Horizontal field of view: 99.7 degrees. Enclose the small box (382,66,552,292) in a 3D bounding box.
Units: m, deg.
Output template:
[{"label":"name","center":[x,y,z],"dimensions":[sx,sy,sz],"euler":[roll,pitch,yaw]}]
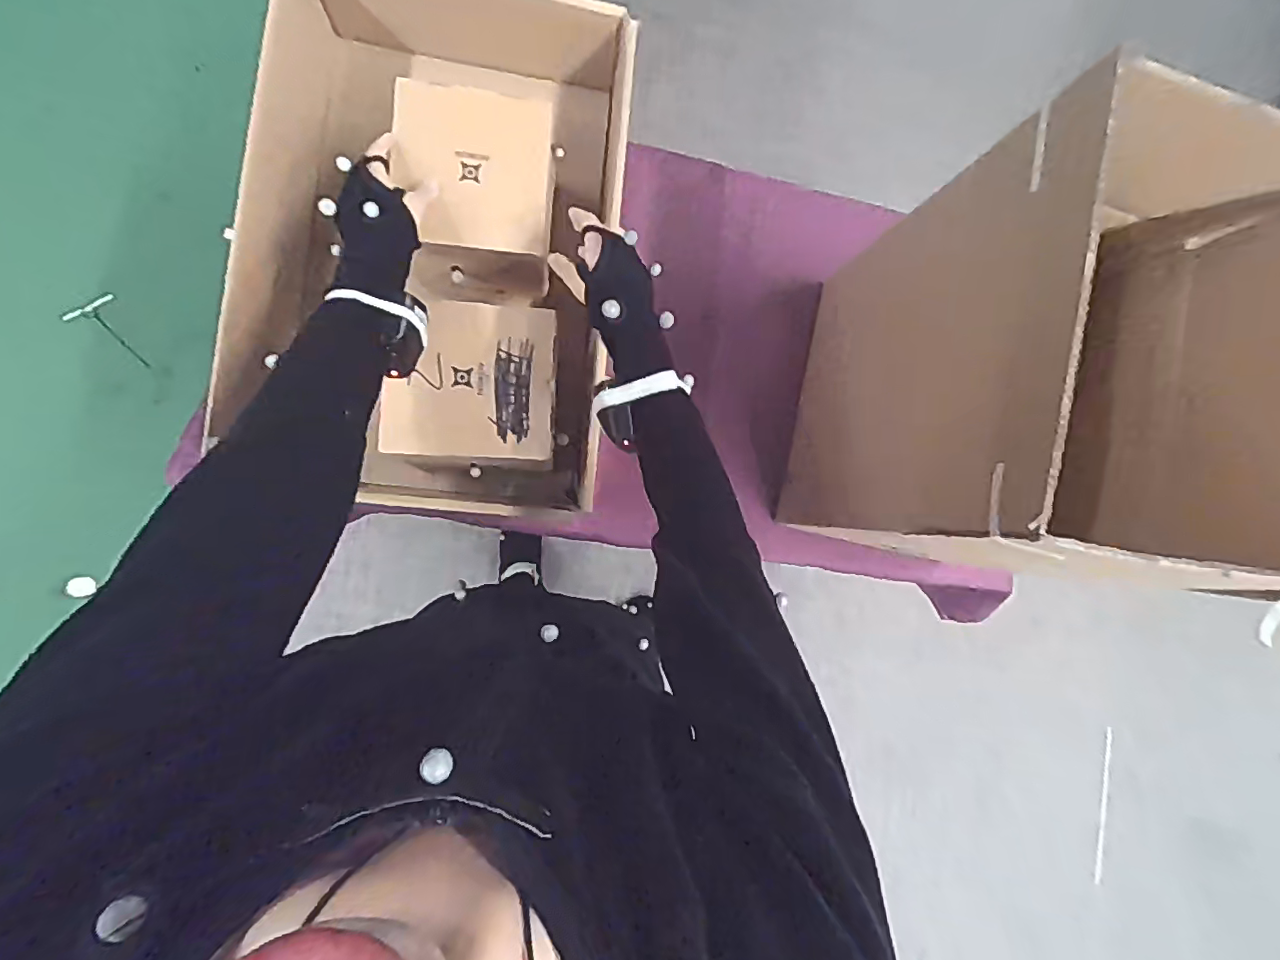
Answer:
[{"label":"small box","center":[-0.196,-0.345,0.657],"dimensions":[0.168,0.176,0.179],"euler":[3,89,-8]}]
